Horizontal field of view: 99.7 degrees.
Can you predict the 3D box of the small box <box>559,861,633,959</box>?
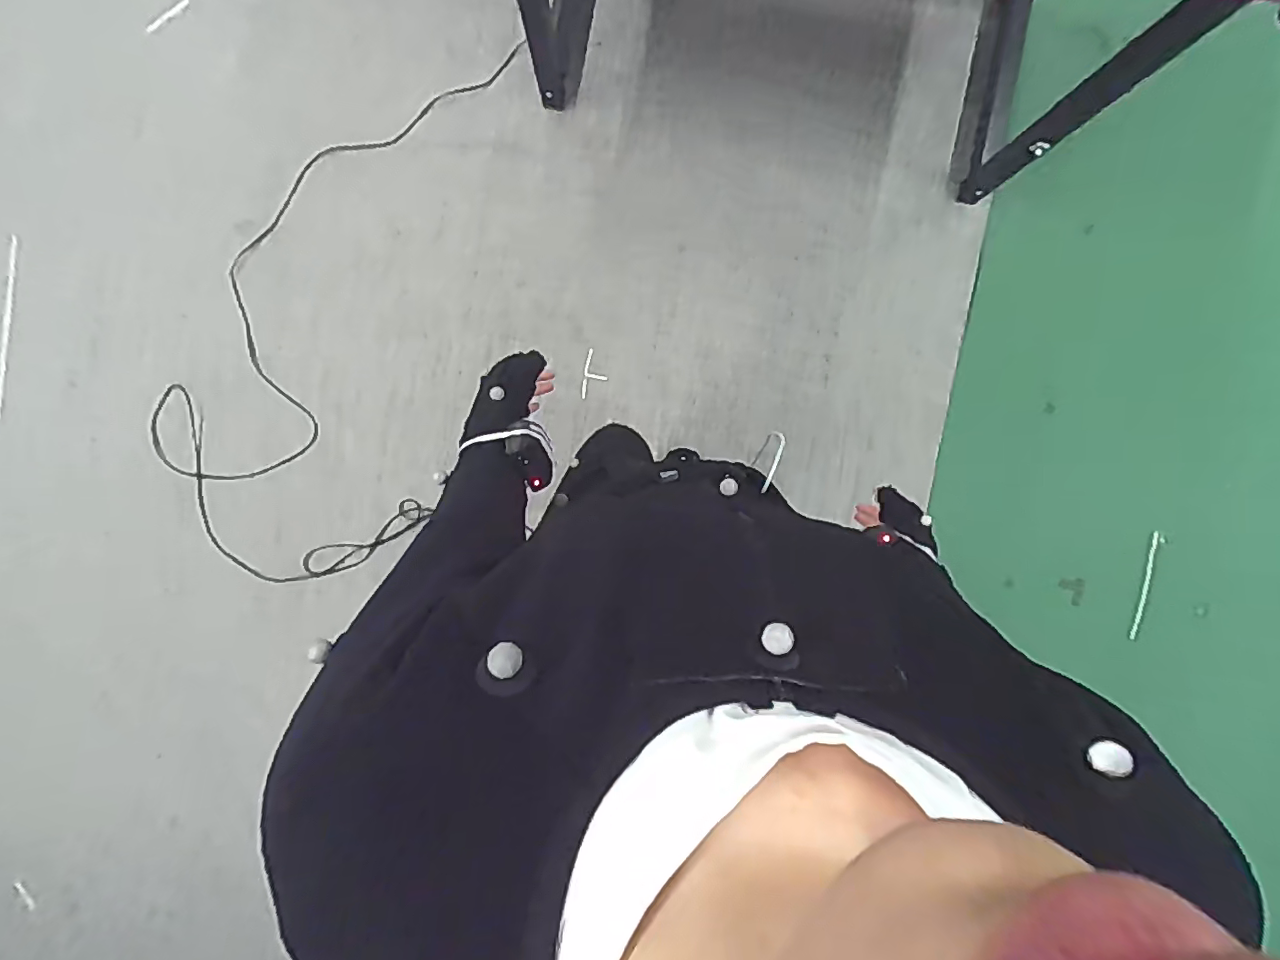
[{"bbox_3d":[-0.109,1.131,1.389,0.168,0.176,0.179,8,93,-2],"label":"small box"}]
